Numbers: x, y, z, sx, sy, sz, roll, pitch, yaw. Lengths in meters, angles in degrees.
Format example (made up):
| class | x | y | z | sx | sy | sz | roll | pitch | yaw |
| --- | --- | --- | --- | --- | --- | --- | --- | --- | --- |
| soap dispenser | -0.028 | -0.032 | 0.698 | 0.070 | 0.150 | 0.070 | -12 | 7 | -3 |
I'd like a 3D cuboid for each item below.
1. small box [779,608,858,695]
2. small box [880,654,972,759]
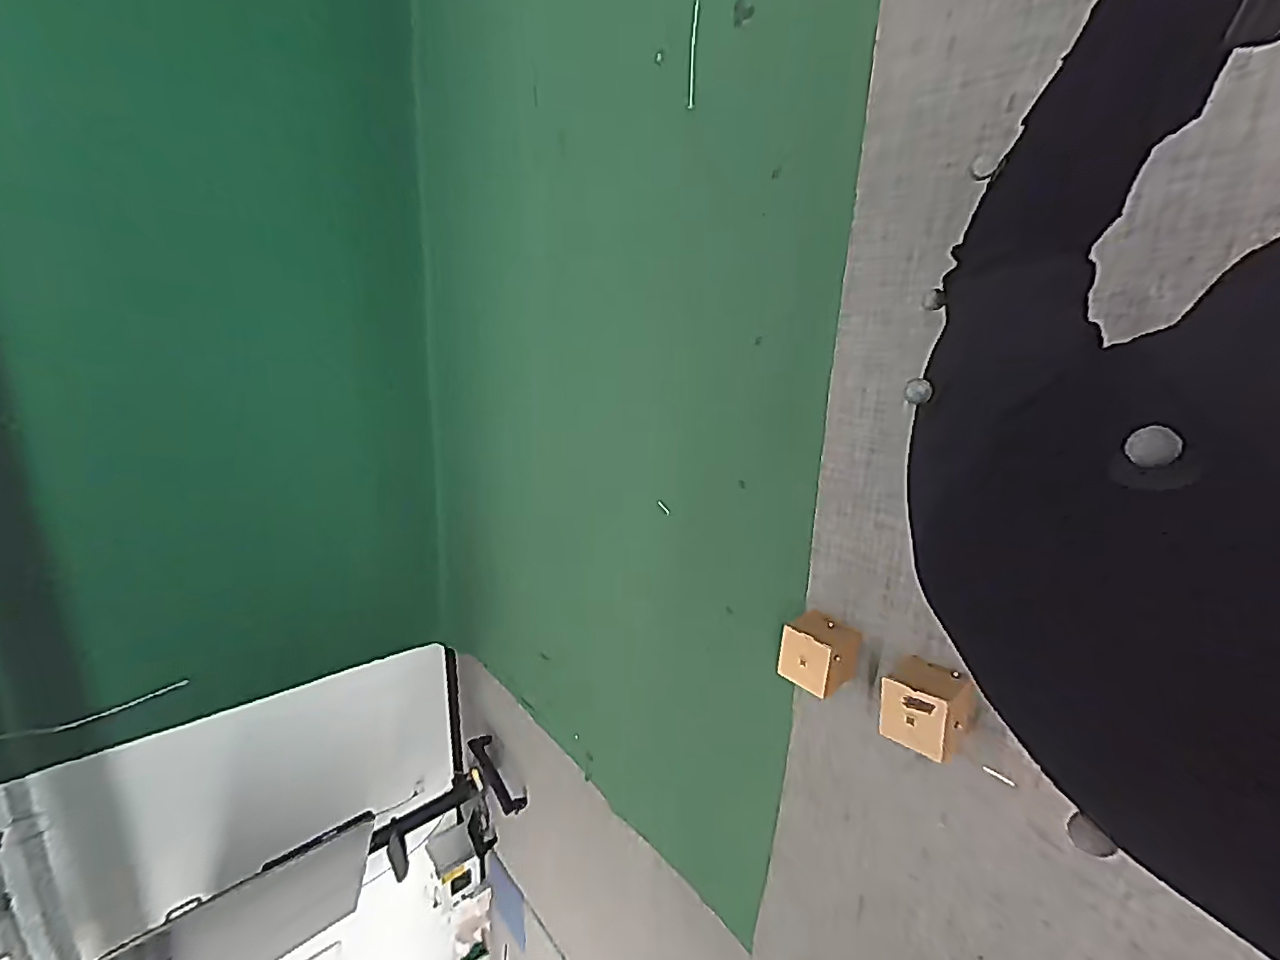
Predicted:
| class | x | y | z | sx | sy | sz | roll | pitch | yaw |
| --- | --- | --- | --- | --- | --- | --- | --- | --- | --- |
| small box | 0.558 | 0.527 | 1.687 | 0.168 | 0.176 | 0.179 | 19 | 111 | 45 |
| small box | 0.769 | 0.596 | 1.451 | 0.168 | 0.176 | 0.179 | 12 | 107 | 48 |
